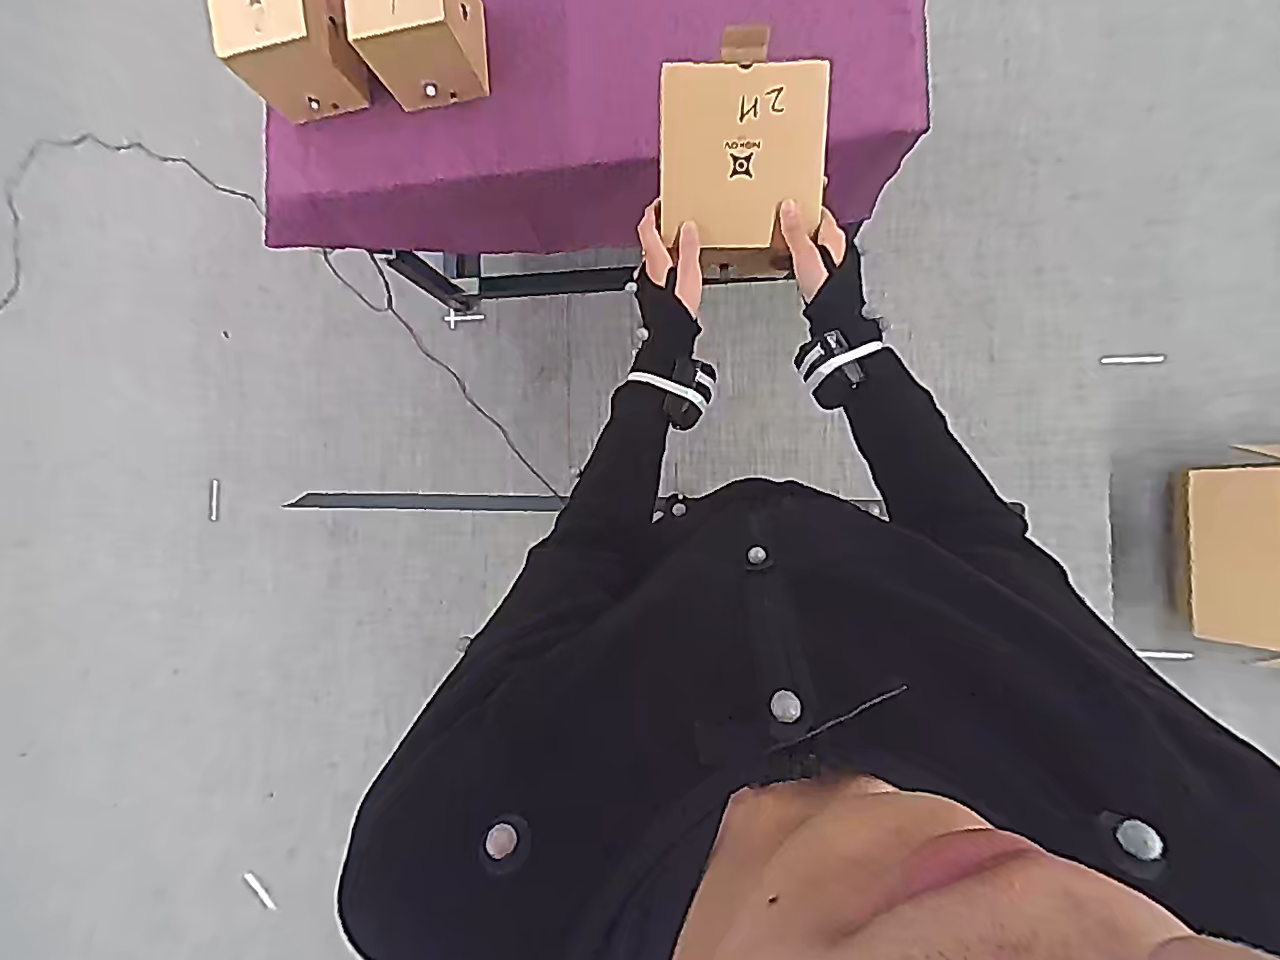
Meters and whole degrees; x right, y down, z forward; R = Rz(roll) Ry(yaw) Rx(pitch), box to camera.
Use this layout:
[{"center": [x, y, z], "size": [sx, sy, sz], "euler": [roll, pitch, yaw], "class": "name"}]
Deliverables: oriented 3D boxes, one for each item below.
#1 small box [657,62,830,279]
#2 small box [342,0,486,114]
[{"center": [0.104, -0.332, 0.615], "size": [0.168, 0.176, 0.179], "euler": [0, 100, 2], "class": "small box"}, {"center": [-0.376, -0.771, 0.915], "size": [0.168, 0.176, 0.179], "euler": [-5, 89, 8], "class": "small box"}]
